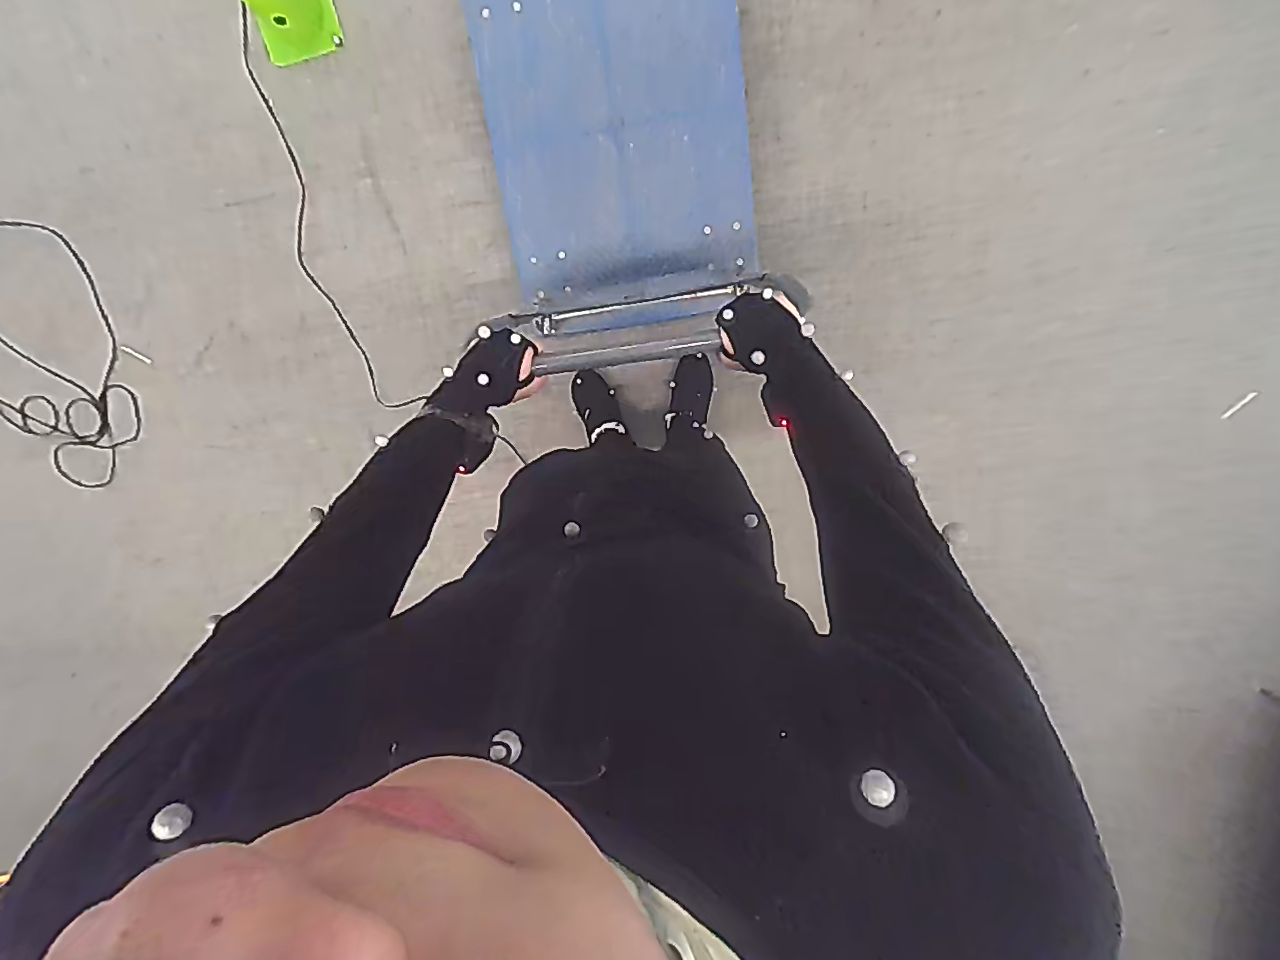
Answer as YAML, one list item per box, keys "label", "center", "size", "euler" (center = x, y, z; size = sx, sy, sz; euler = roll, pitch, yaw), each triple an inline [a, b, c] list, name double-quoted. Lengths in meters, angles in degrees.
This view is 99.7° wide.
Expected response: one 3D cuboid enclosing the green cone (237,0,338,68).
- label: "green cone"
  center: [-0.868, -1.092, 1.156]
  size: [0.202, 0.368, 0.200]
  euler: [-11, 107, 9]
